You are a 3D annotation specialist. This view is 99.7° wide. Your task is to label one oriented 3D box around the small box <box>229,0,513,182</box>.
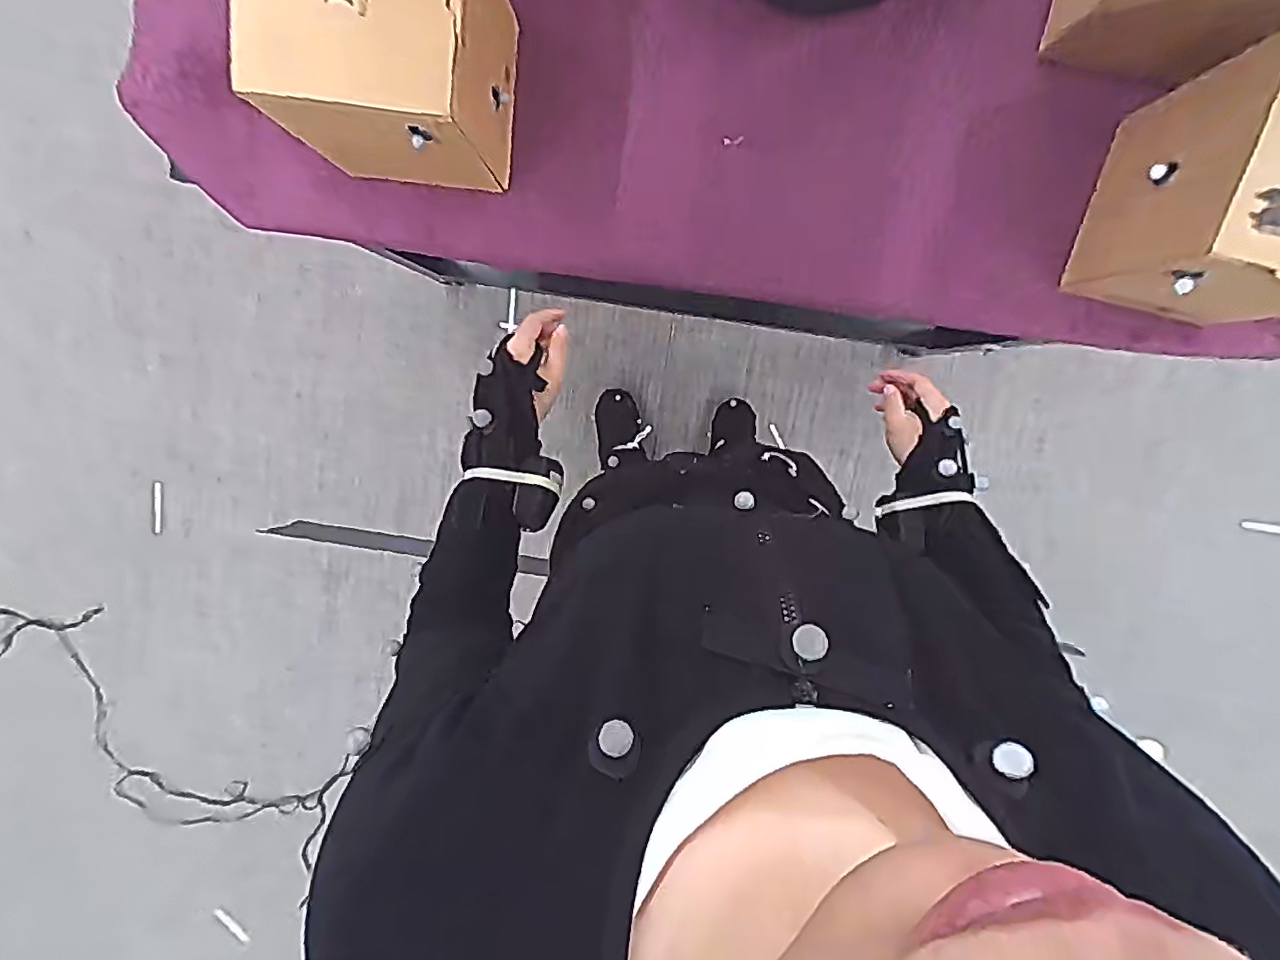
[{"bbox_3d":[-0.225,-0.391,0.489,0.179,0.176,0.168,5,100,-1],"label":"small box"}]
